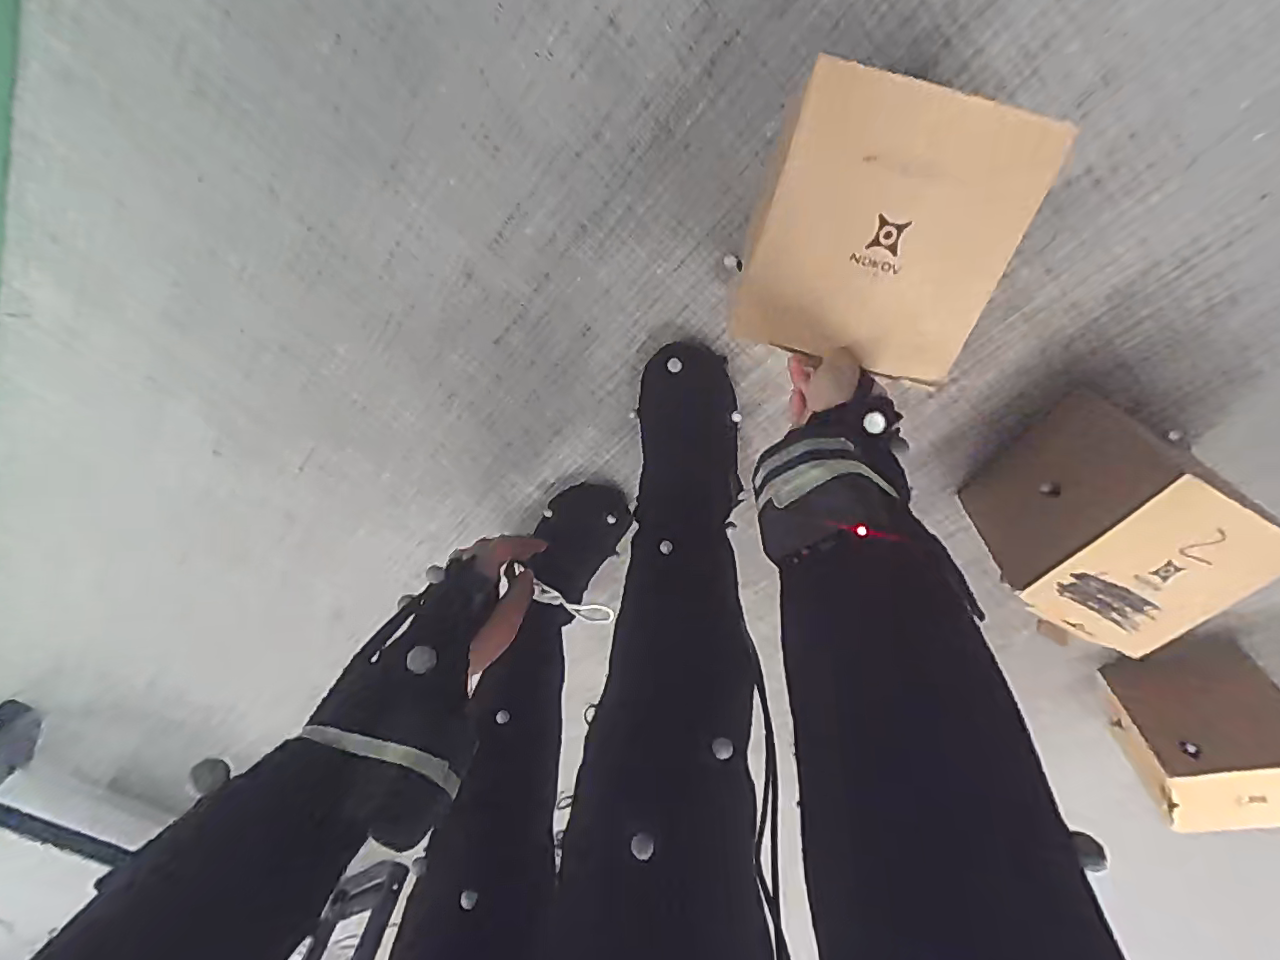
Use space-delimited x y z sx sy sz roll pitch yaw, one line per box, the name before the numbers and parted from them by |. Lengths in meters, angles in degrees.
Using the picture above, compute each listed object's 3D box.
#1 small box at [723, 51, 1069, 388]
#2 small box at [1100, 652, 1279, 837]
small box | 0.170 -0.198 0.432 0.168 0.176 0.179 14 118 0
small box | 0.795 0.364 0.754 0.179 0.176 0.168 -21 120 22
